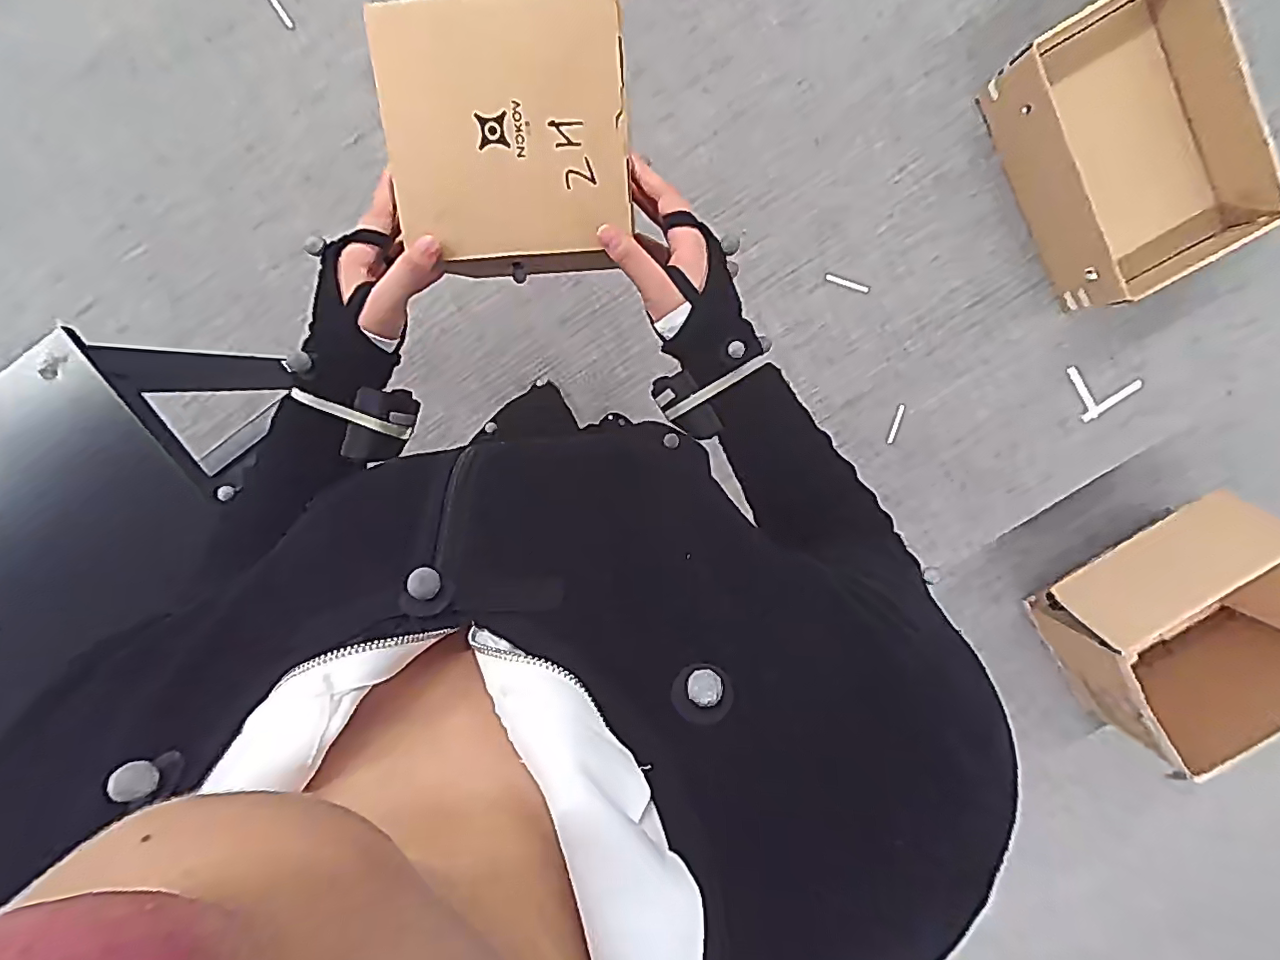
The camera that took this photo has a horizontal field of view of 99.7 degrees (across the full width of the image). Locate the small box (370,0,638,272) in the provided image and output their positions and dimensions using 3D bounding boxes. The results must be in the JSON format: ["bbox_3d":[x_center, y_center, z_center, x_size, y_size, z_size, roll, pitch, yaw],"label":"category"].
[{"bbox_3d":[-0.094,-0.277,0.467,0.179,0.176,0.168,-3,107,2],"label":"small box"}]
